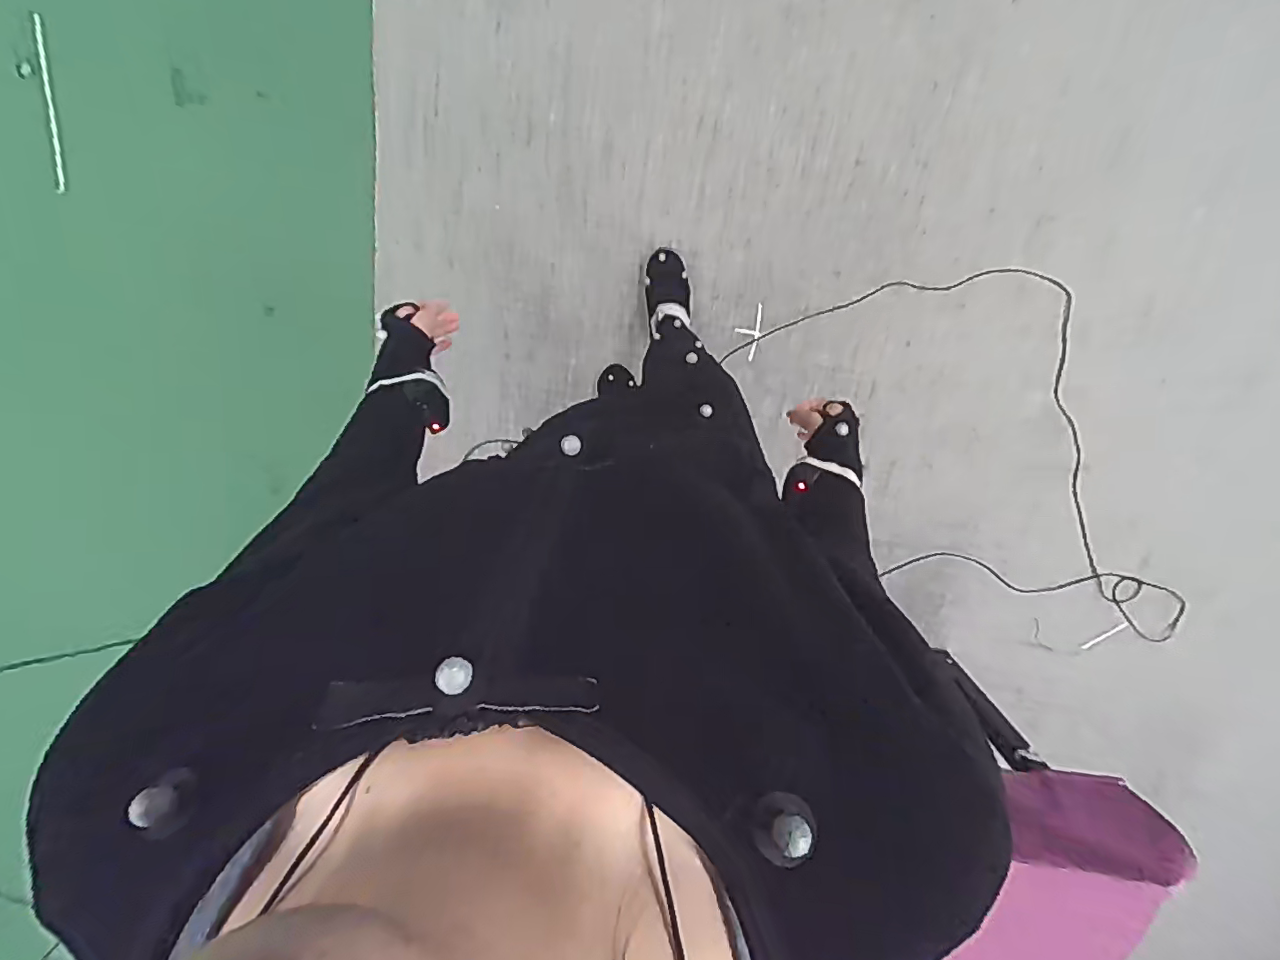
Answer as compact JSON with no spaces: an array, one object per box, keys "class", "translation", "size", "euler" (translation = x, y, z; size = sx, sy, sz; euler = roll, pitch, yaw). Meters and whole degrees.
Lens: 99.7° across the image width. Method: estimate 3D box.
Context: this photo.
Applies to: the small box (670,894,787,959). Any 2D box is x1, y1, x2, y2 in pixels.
[{"class":"small box","translation":[0.151,0.868,0.939],"size":[0.179,0.176,0.168],"euler":[10,108,-1]}]
